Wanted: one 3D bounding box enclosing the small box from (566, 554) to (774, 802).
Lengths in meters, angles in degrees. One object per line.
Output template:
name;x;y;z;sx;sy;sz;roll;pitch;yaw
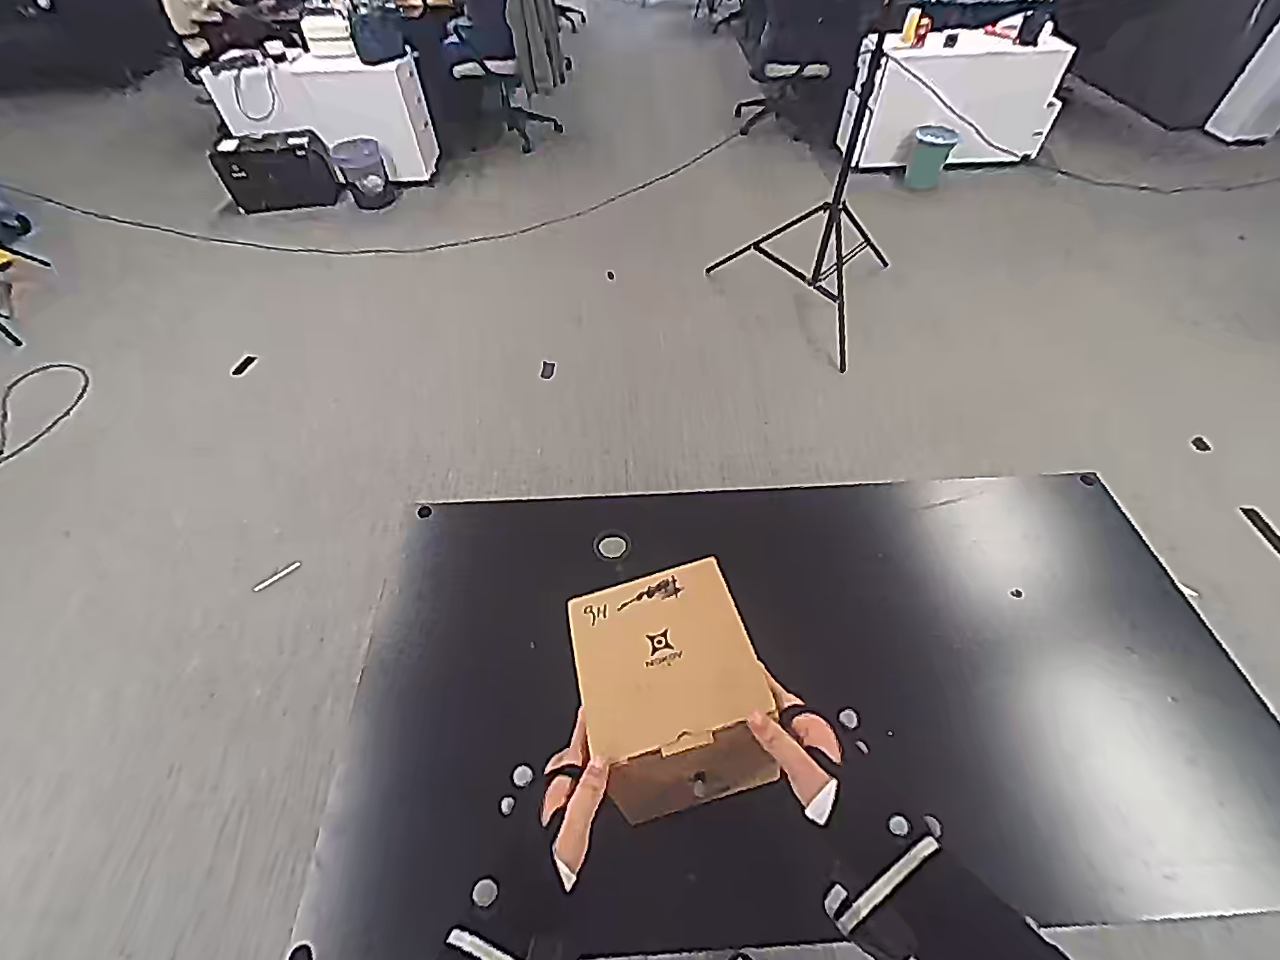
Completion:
small box;0.033;0.213;0.566;0.168;0.176;0.179;-17;45;-1
